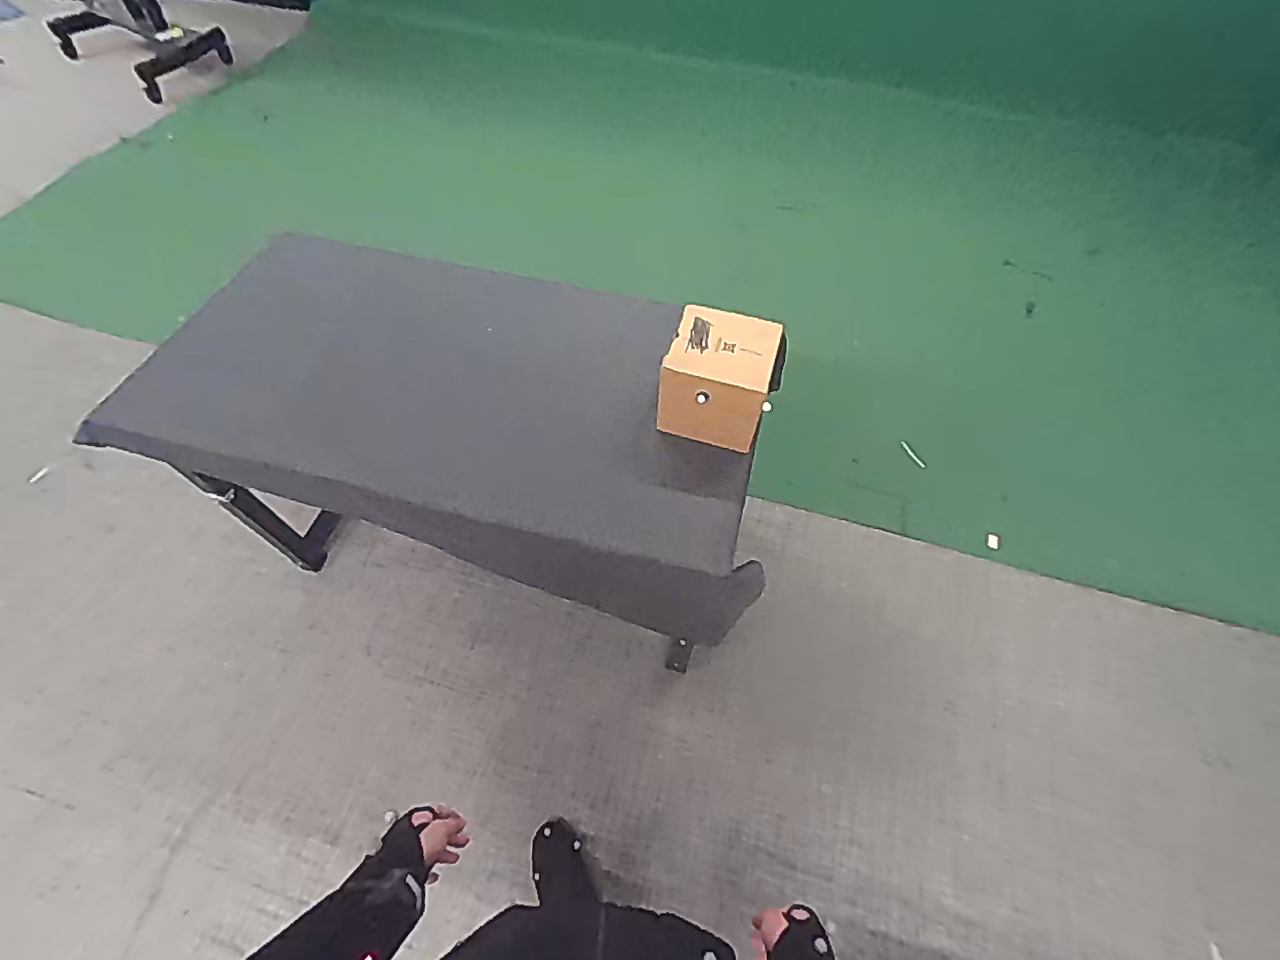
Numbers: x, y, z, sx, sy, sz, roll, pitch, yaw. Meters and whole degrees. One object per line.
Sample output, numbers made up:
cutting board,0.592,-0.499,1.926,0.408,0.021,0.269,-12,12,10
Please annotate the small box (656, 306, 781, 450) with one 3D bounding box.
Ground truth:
small box,0.134,-0.177,0.971,0.179,0.176,0.168,17,57,6
